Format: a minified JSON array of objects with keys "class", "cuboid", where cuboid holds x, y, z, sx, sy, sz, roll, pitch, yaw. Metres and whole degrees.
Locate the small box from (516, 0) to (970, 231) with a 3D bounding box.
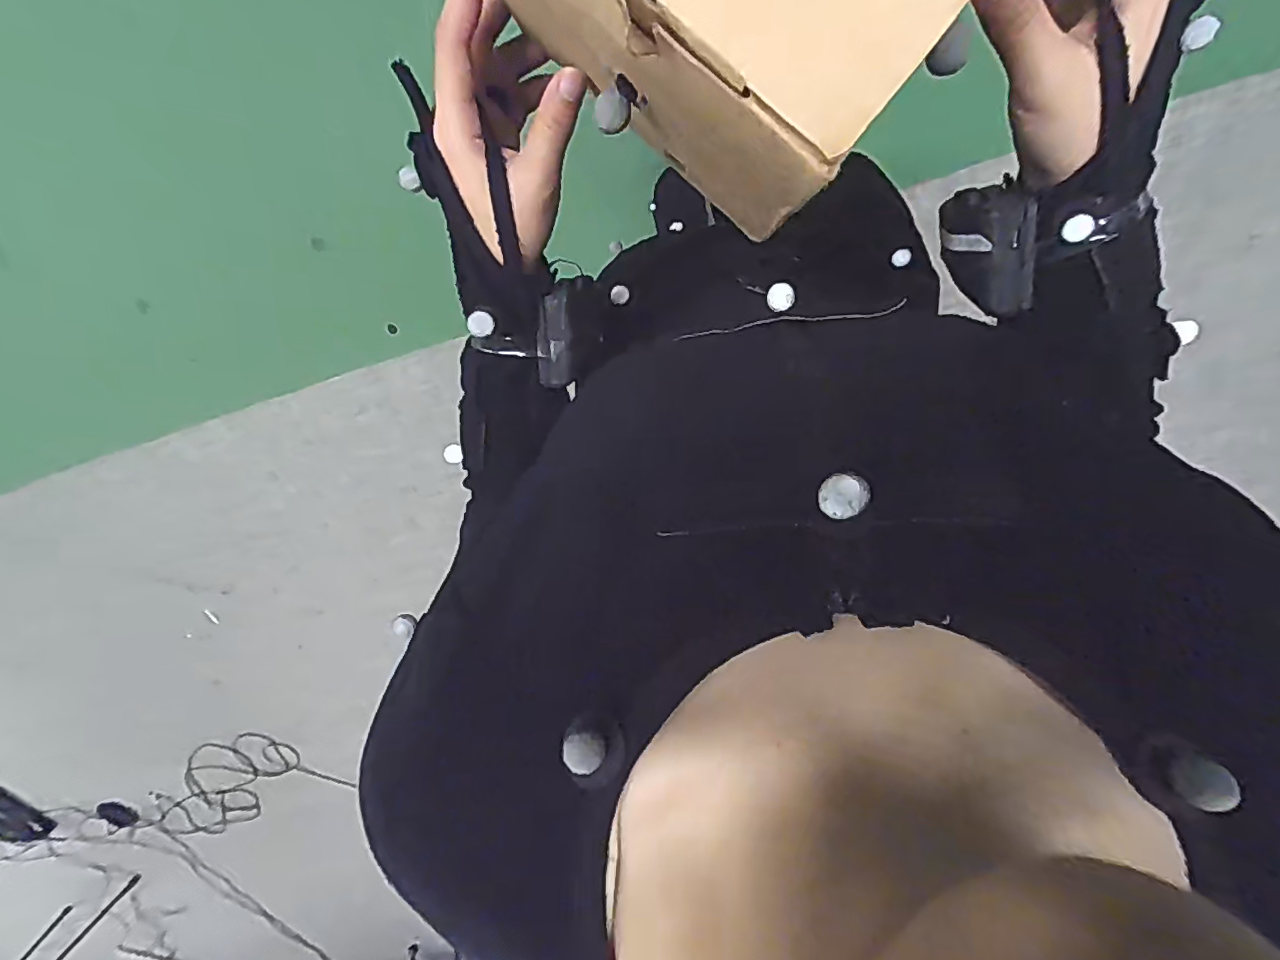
[{"class":"small box","cuboid":[0.050,-0.220,0.198,0.168,0.176,0.179,38,108,-6]}]
